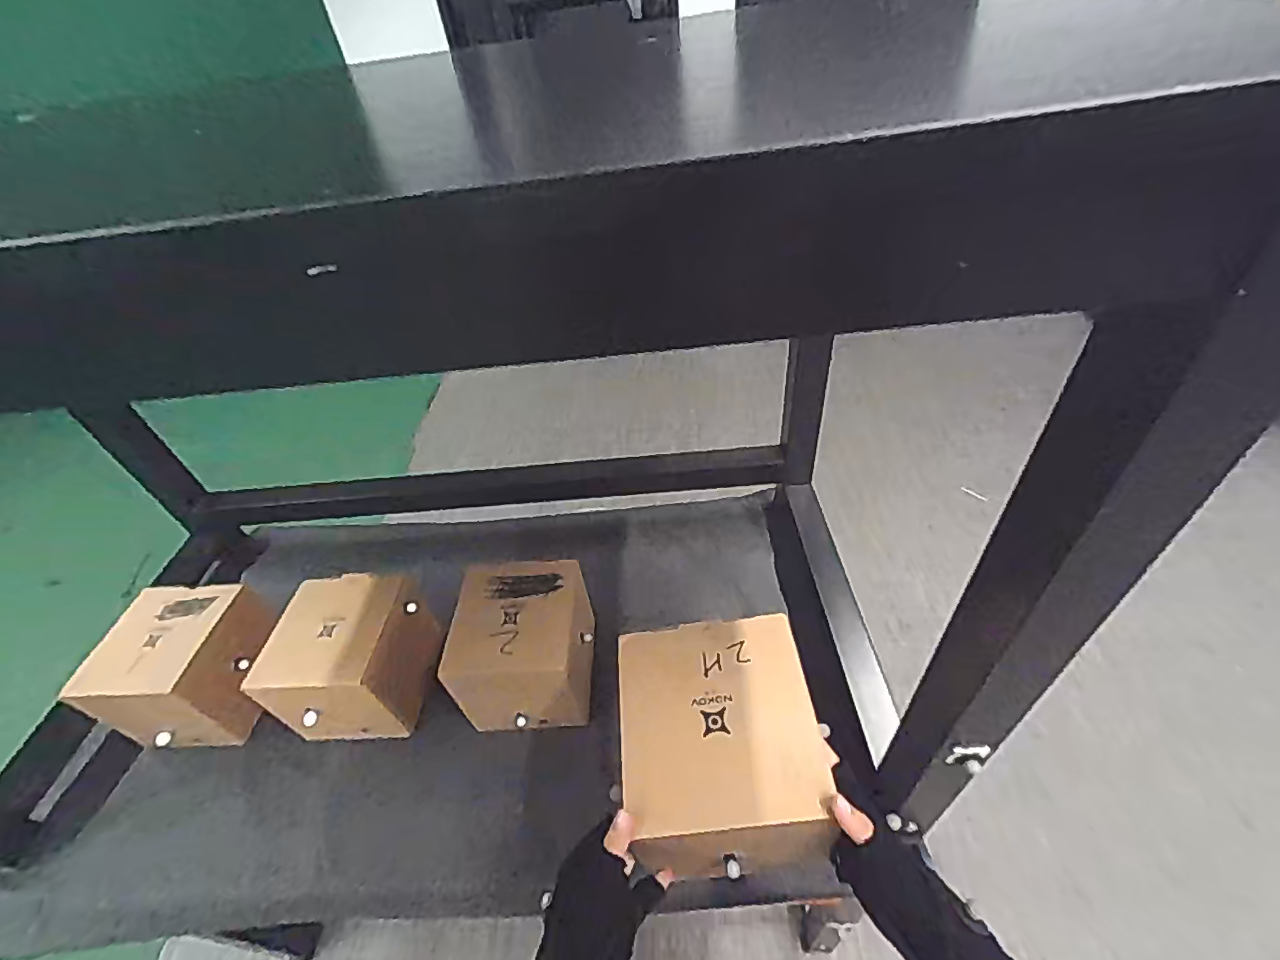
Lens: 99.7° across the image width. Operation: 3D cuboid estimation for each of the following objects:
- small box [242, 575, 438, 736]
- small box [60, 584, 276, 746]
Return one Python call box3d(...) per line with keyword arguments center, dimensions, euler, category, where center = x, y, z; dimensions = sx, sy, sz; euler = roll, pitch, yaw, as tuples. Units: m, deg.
box3d(center=(-0.424, 0.264, 0.804), dimensions=(0.168, 0.176, 0.179), euler=(-4, 42, 5), category="small box")
box3d(center=(-0.676, 0.280, 0.820), dimensions=(0.168, 0.176, 0.179), euler=(-3, 43, 5), category="small box")
